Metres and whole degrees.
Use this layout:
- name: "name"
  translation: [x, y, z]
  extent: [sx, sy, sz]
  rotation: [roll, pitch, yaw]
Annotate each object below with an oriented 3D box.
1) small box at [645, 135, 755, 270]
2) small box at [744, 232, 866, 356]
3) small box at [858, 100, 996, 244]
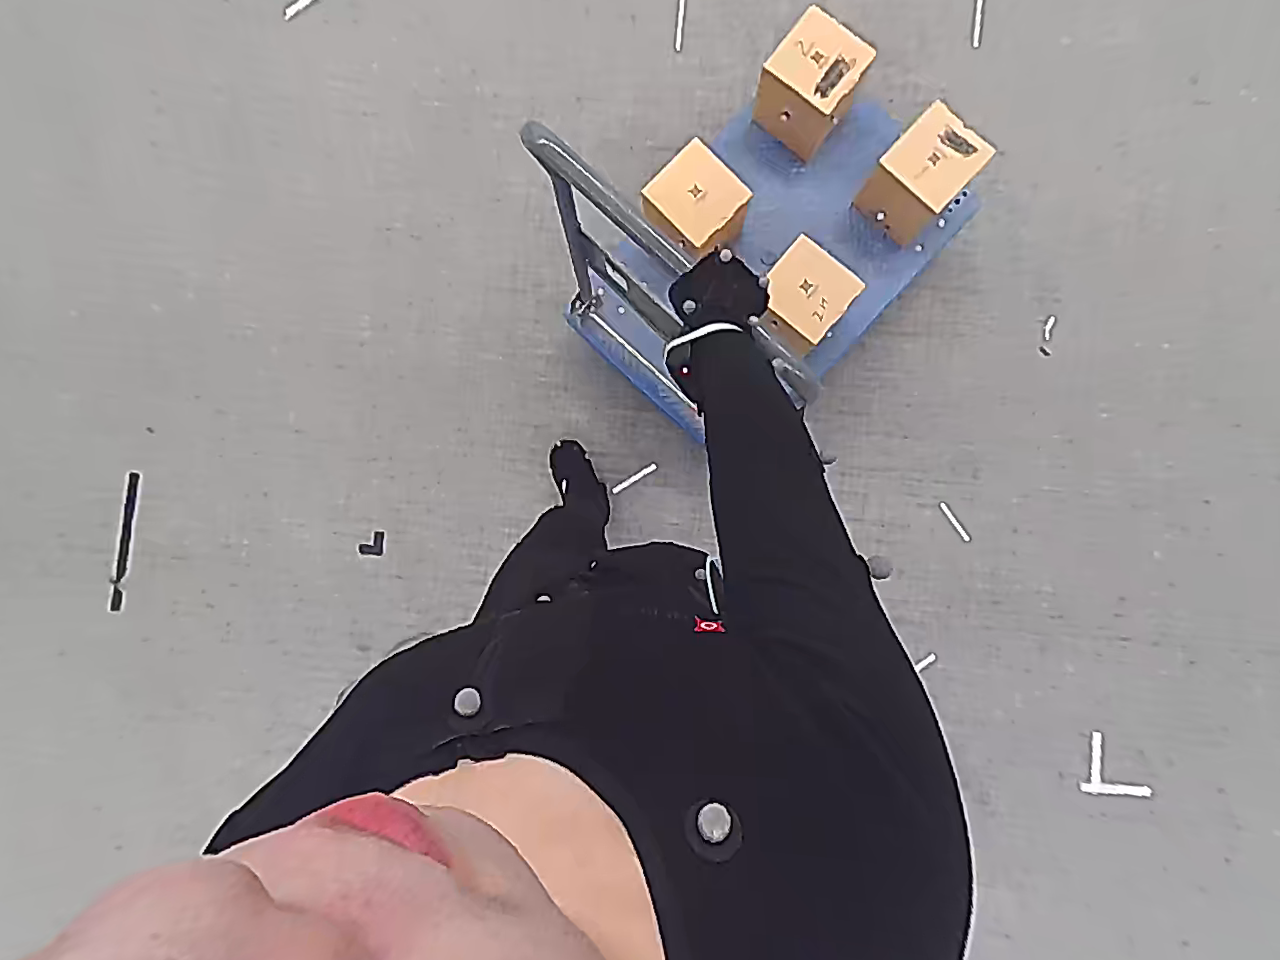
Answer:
- name: "small box"
  translation: [0.126, -0.609, 1.212]
  extent: [0.168, 0.176, 0.179]
  rotation: [-44, 90, 1]
- name: "small box"
  translation: [0.353, -0.399, 1.200]
  extent: [0.179, 0.176, 0.168]
  rotation: [41, 92, 2]
- name: "small box"
  translation: [0.618, -0.666, 1.190]
  extent: [0.168, 0.176, 0.179]
  rotation: [44, 93, 2]
